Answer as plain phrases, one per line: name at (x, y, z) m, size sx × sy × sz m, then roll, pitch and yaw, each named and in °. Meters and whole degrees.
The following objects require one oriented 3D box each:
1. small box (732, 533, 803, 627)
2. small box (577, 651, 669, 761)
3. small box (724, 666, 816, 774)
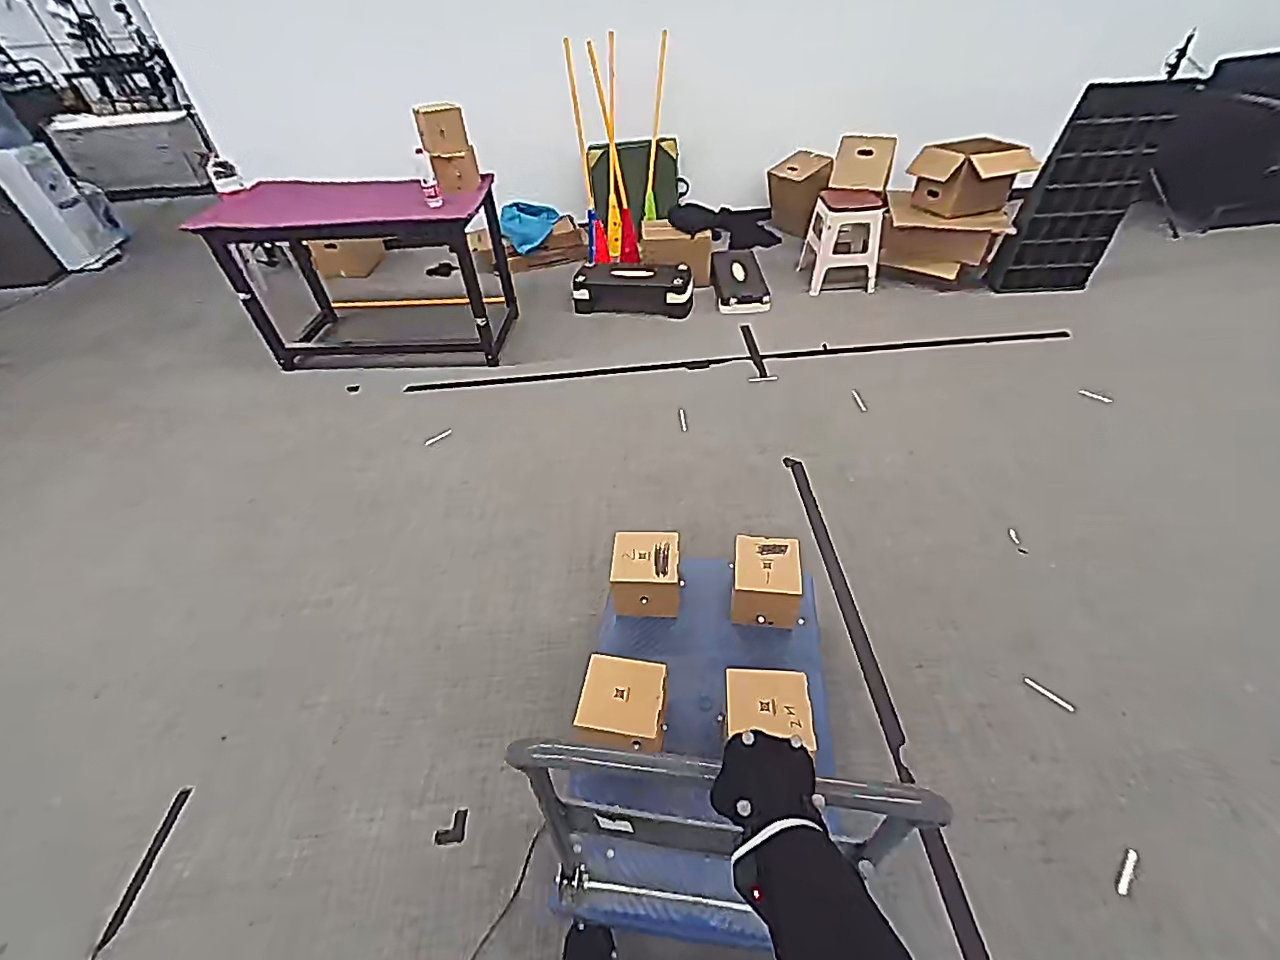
small box at (0.336, 0.267, 1.447) m, size 0.168 × 0.176 × 0.179 m, roll 4°, pitch 46°, yaw 8°
small box at (-0.032, 0.512, 1.222) m, size 0.179 × 0.176 × 0.168 m, roll 6°, pitch 45°, yaw 8°
small box at (0.275, 0.528, 1.185) m, size 0.179 × 0.176 × 0.168 m, roll 2°, pitch 45°, yaw 6°
